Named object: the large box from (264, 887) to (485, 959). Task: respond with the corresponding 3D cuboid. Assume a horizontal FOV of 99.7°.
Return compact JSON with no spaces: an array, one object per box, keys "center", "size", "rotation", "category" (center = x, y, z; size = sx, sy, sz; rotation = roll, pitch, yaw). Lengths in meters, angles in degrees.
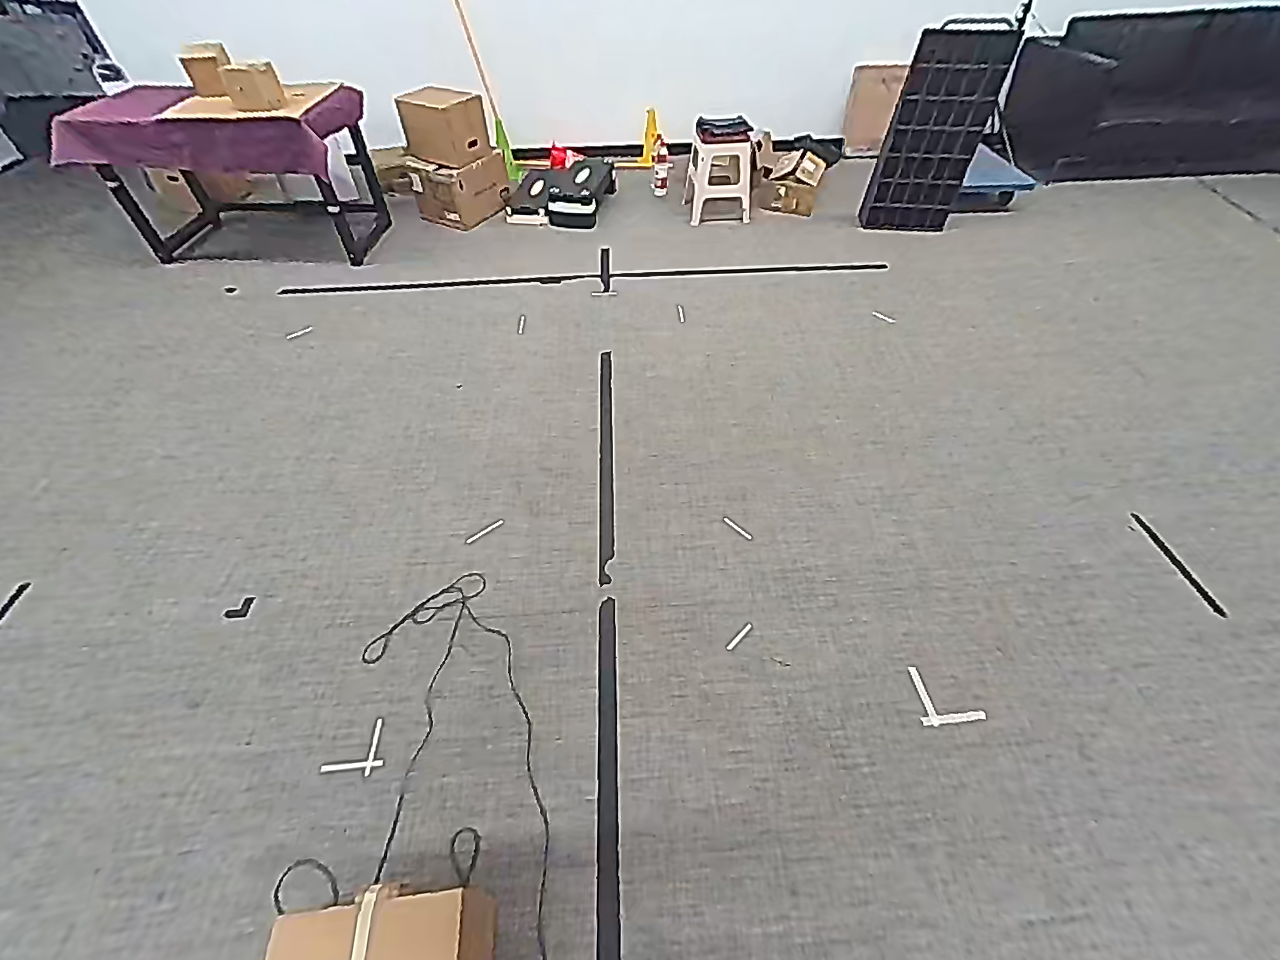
[{"center":[-0.455,0.980,0.932],"size":[0.320,0.320,0.408],"rotation":[-4,50,-5],"category":"large box"}]
